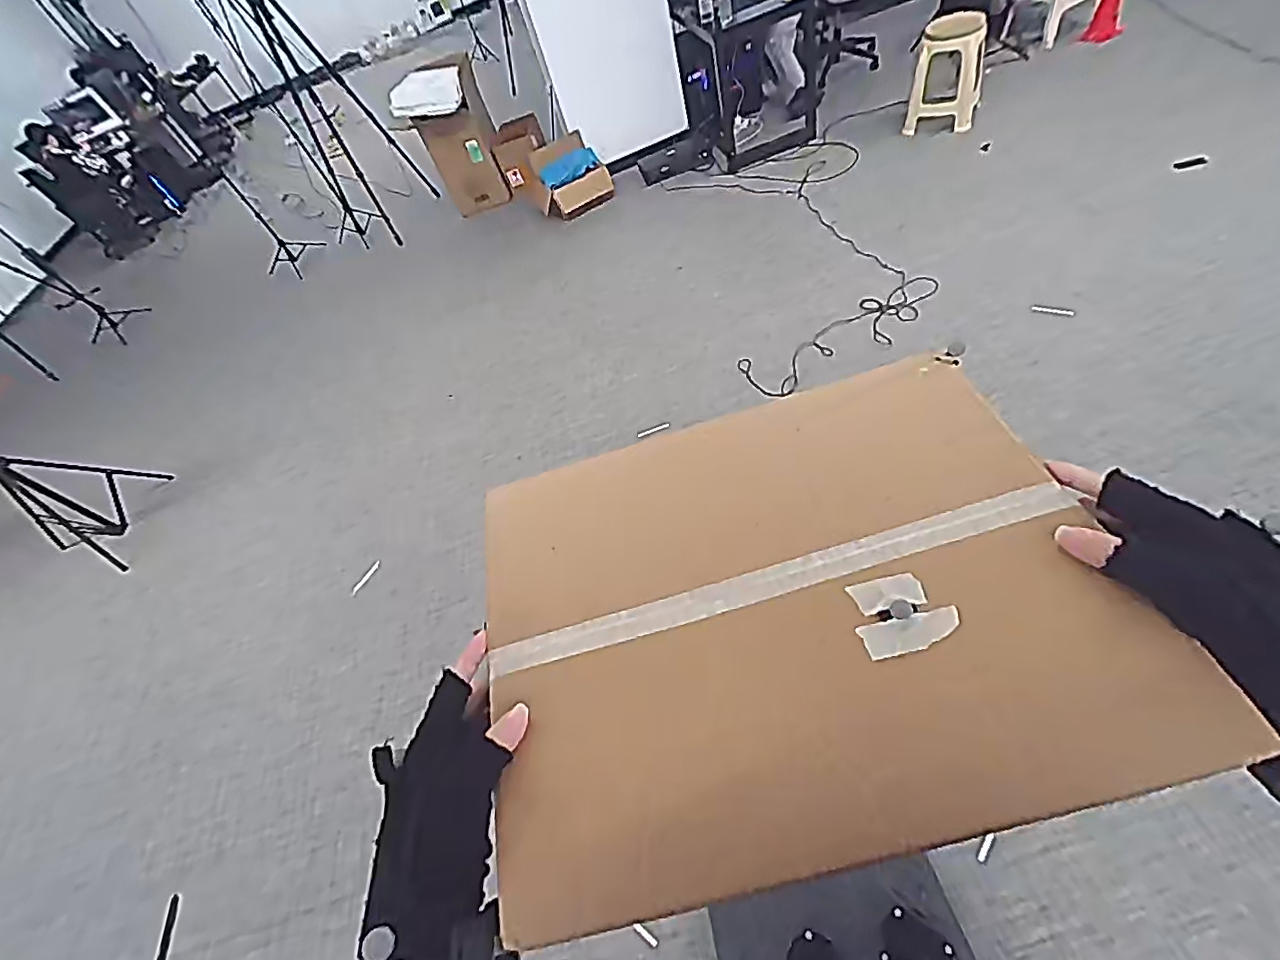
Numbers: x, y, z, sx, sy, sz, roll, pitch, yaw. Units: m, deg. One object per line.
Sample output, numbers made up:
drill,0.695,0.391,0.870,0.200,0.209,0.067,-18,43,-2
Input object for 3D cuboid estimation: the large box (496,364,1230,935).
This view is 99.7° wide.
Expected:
large box,0.123,0.161,0.498,0.408,0.320,0.320,-17,53,3
